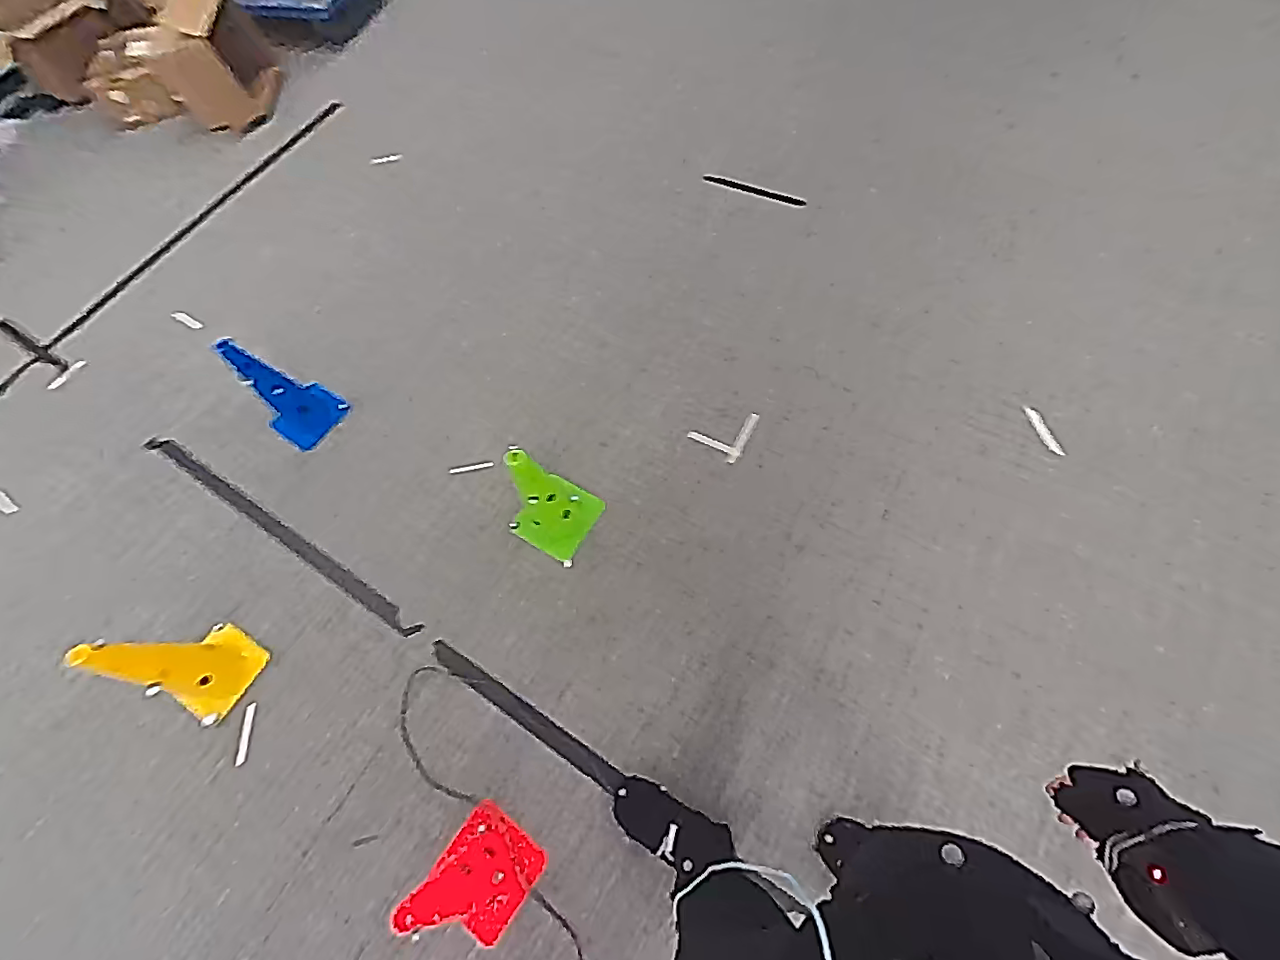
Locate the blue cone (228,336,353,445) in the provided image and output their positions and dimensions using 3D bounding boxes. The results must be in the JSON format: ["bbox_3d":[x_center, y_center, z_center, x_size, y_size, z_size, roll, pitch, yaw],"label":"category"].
[{"bbox_3d":[-1.067,-0.282,1.605,0.193,0.380,0.192,31,72,19],"label":"blue cone"}]

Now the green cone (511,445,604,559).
[{"bbox_3d":[-0.243,0.023,1.335,0.200,0.368,0.202,28,70,19],"label":"green cone"}]

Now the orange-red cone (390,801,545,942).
[{"bbox_3d":[-0.351,0.759,1.004,0.198,0.360,0.199,32,74,21],"label":"orange-red cone"}]
